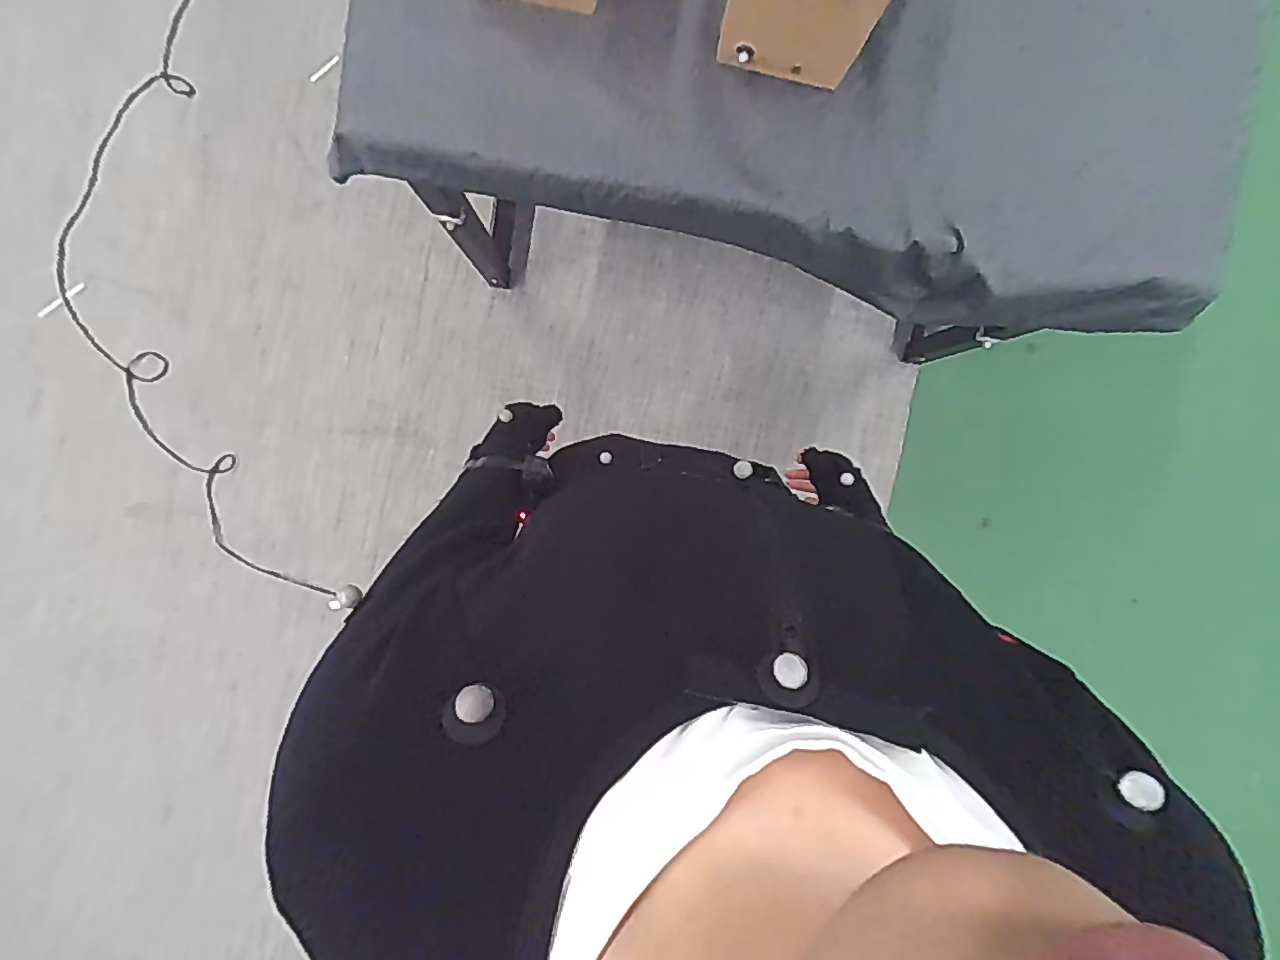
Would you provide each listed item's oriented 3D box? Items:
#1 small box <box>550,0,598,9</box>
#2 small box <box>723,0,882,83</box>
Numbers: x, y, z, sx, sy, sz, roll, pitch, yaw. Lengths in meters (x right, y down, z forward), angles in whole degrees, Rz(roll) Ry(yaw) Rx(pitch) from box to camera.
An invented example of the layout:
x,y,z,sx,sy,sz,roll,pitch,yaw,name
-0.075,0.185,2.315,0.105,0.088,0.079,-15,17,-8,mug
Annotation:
x,y,z,sx,sy,sz,roll,pitch,yaw,name
-0.119,-0.696,0.615,0.168,0.176,0.179,9,94,-3,small box
0.201,-0.614,0.630,0.168,0.176,0.179,12,92,-3,small box
